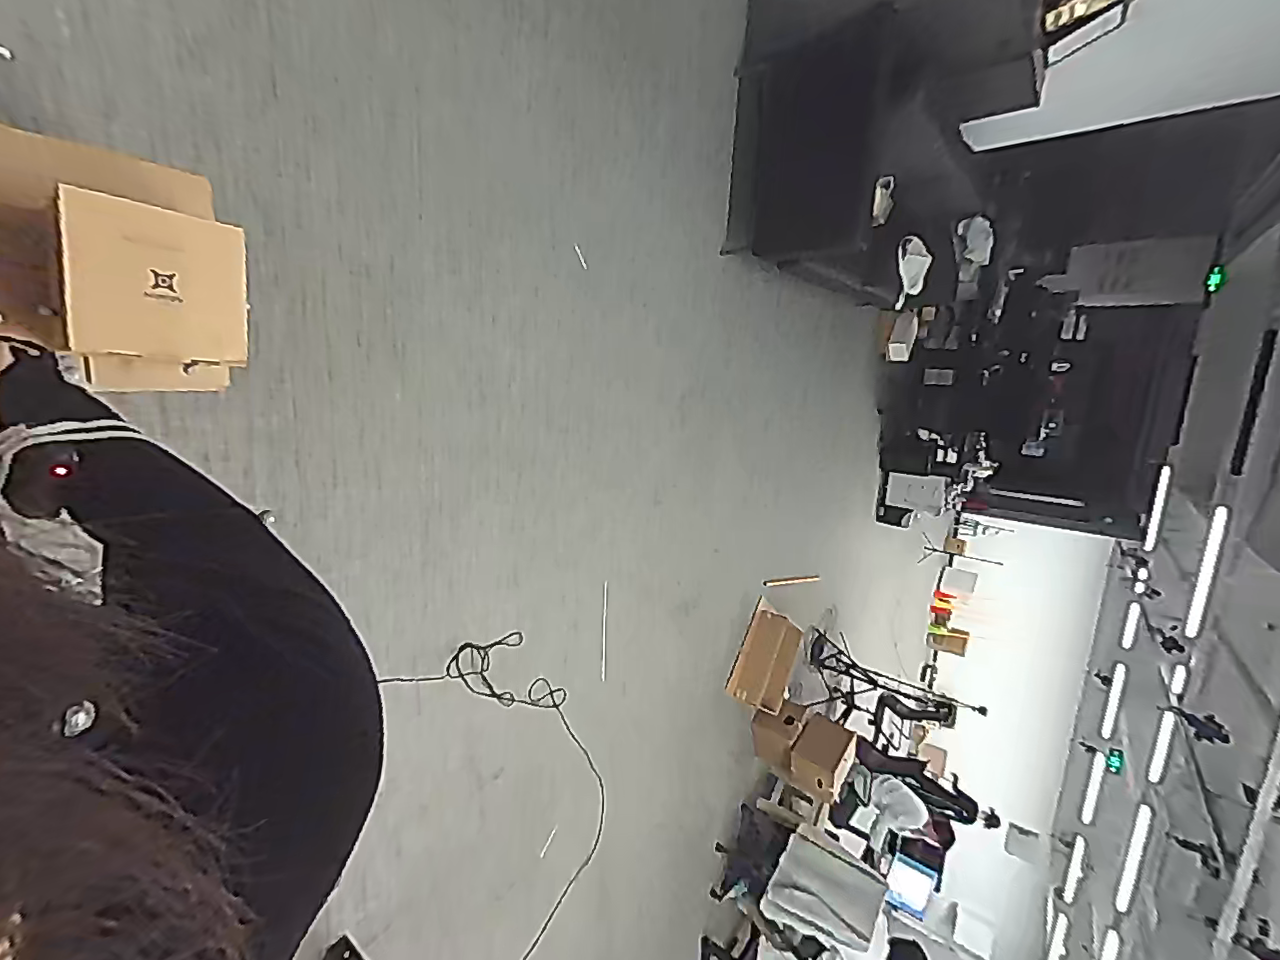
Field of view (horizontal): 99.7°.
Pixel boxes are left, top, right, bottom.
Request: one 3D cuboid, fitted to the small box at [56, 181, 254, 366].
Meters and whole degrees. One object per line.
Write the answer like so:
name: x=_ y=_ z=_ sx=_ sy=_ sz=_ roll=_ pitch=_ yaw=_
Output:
small box: x=-0.616 y=-0.245 z=0.690 sx=0.168 sy=0.176 sz=0.179 roll=-5 pitch=102 yaw=-51
